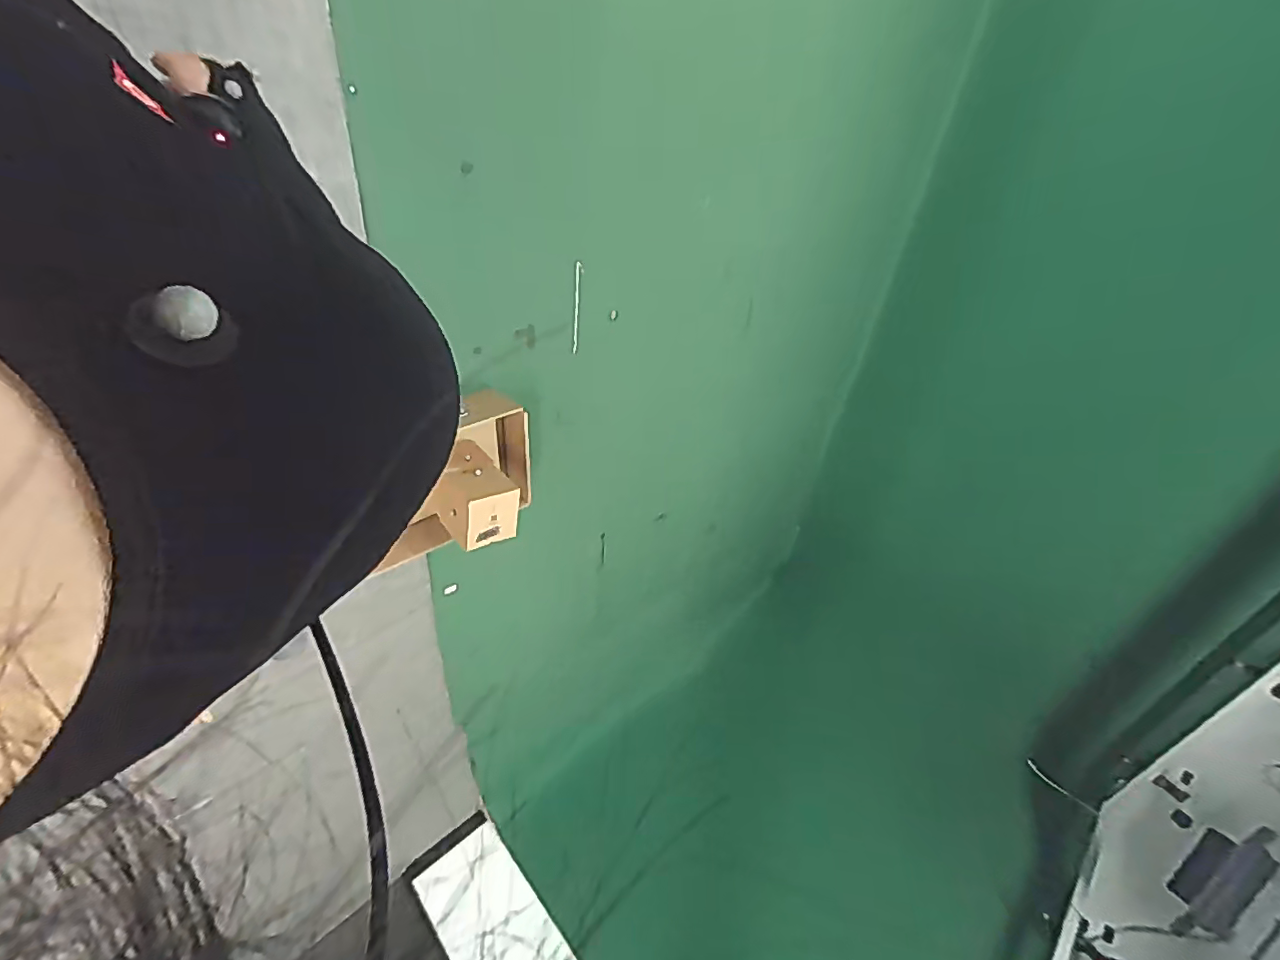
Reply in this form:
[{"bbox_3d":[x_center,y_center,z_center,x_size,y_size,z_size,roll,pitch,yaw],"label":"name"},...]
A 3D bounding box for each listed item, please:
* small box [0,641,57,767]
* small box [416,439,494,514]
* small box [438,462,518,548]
[{"bbox_3d":[-1.268,0.442,1.024,0.179,0.176,0.168,-23,133,-38],"label":"small box"},{"bbox_3d":[-0.590,-0.017,1.709,0.179,0.176,0.168,-13,129,-43],"label":"small box"},{"bbox_3d":[-0.487,0.071,1.614,0.168,0.176,0.179,-16,130,-42],"label":"small box"}]
